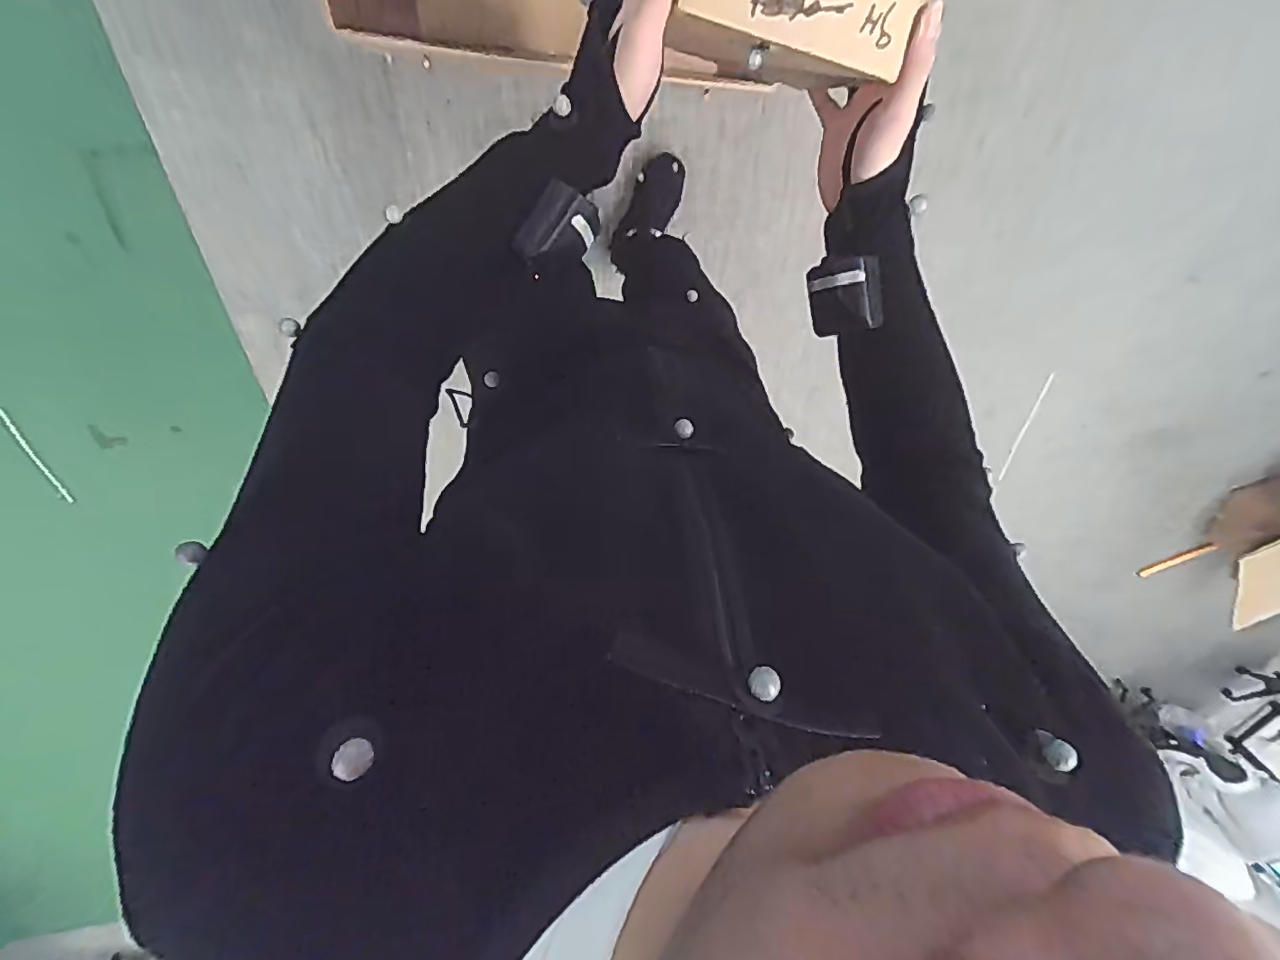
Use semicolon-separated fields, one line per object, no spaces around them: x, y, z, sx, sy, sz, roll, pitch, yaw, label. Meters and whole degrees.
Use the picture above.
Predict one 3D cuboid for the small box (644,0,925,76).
0.105;-0.407;0.369;0.168;0.176;0.179;6;122;-13;small box
